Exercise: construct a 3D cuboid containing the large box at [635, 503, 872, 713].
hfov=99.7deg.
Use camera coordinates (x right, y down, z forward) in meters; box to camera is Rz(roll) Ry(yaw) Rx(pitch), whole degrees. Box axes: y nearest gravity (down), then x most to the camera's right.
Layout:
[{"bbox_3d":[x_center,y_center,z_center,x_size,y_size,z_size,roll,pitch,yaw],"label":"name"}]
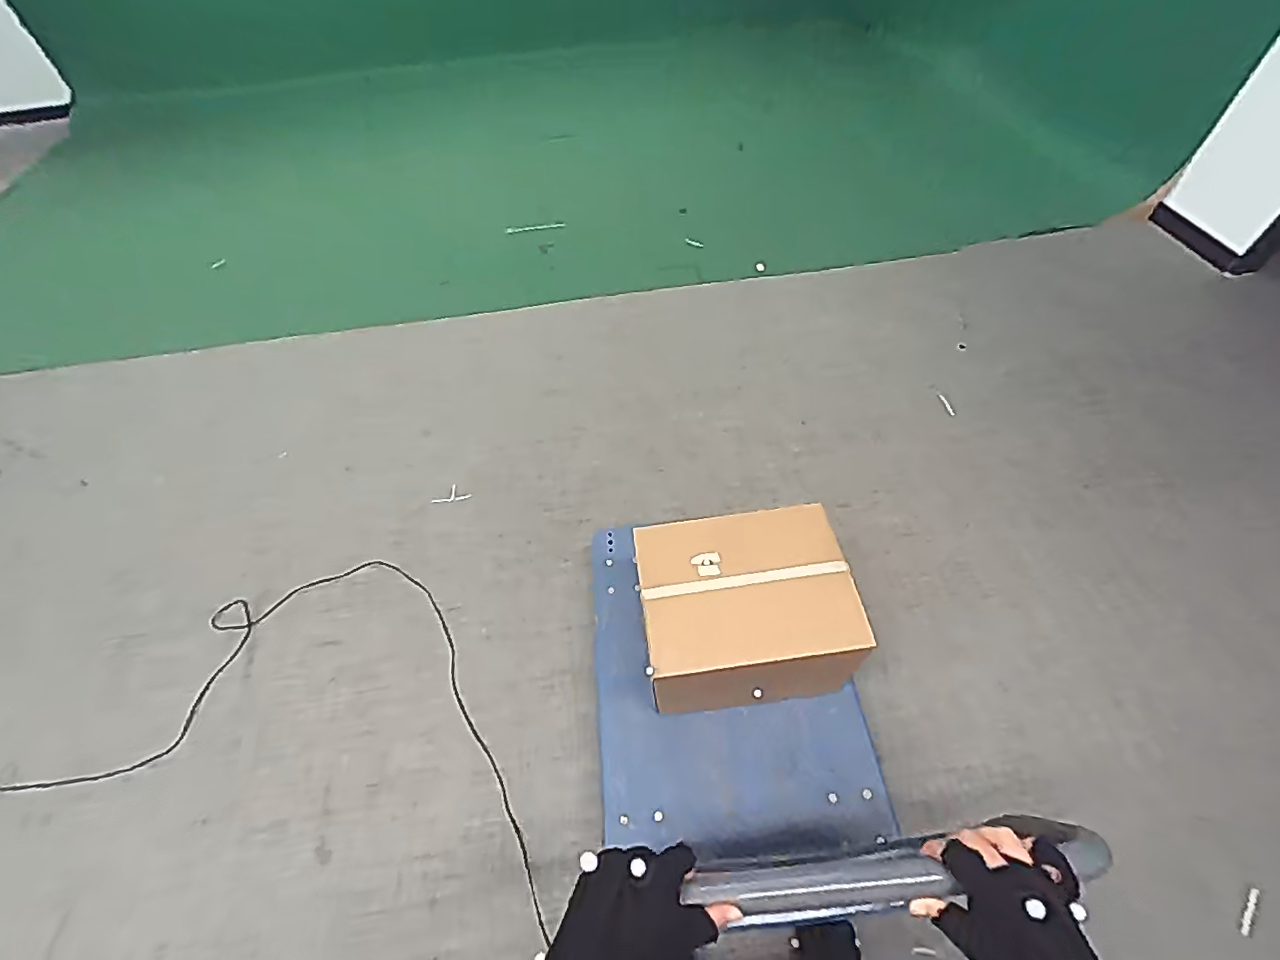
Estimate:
[{"bbox_3d":[0.217,0.286,1.175,0.408,0.320,0.320,-9,53,-1],"label":"large box"}]
